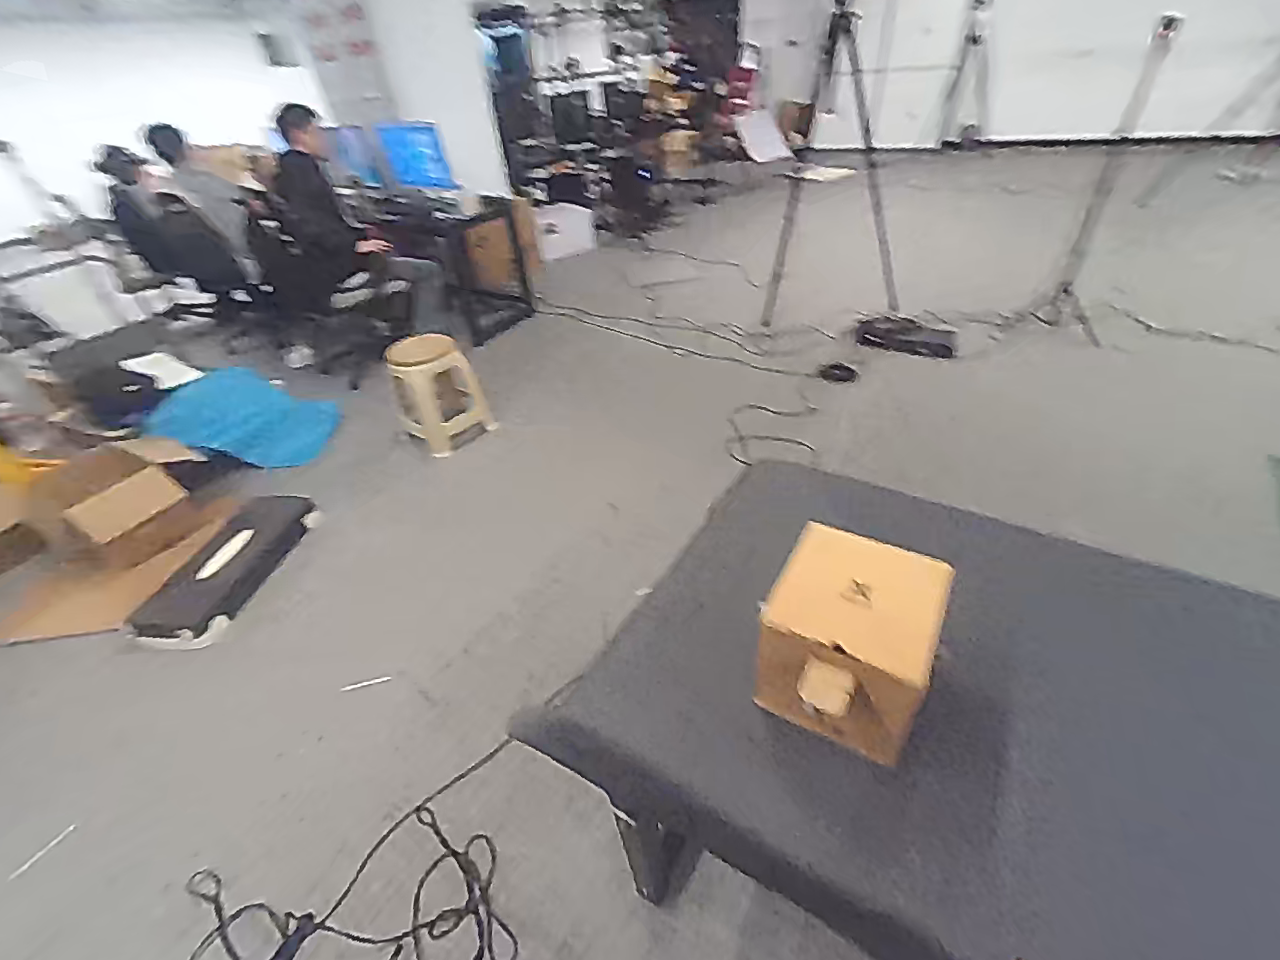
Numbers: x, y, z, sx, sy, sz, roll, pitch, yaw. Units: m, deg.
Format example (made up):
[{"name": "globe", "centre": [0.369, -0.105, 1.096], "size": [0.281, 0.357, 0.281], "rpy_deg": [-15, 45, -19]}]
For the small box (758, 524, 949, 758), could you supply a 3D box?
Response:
[{"name": "small box", "centre": [0.249, 0.188, 0.654], "size": [0.168, 0.176, 0.179], "rpy_deg": [18, 44, 27]}]
